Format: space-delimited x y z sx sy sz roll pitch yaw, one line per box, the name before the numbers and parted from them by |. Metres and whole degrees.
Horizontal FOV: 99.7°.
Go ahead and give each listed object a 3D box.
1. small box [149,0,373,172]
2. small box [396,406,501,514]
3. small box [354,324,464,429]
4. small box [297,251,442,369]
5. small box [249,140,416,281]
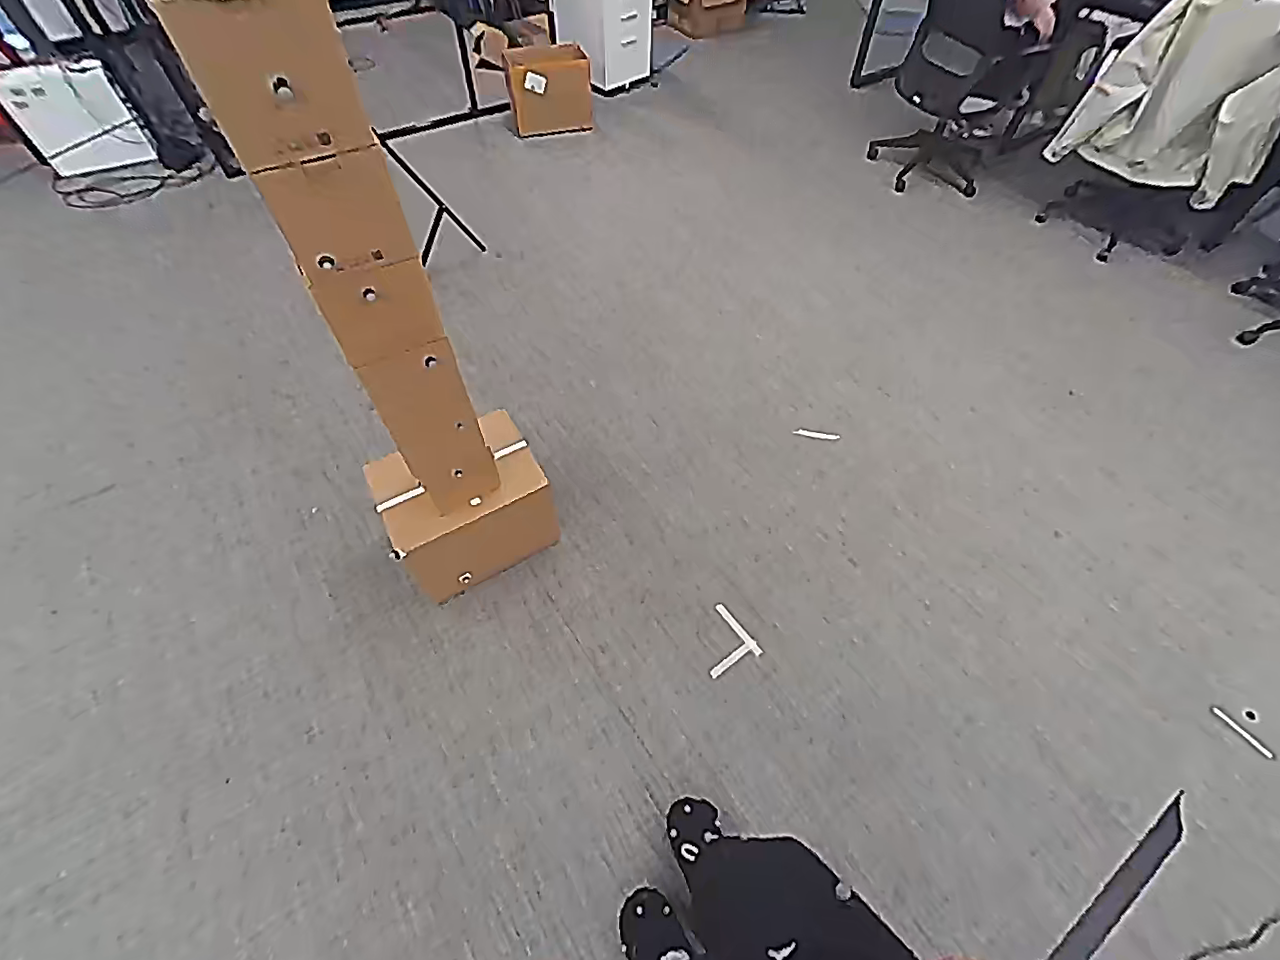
small box | -0.462 -0.511 0.673 0.168 0.176 0.179 -27 61 -18
small box | -0.469 -0.045 1.345 0.179 0.176 0.168 -29 61 -21
small box | -0.467 -0.233 1.076 0.179 0.176 0.168 -26 59 -18
small box | -0.465 -0.326 0.944 0.179 0.176 0.168 -26 60 -17
small box | -0.460 -0.422 0.811 0.168 0.176 0.179 -26 59 -18
